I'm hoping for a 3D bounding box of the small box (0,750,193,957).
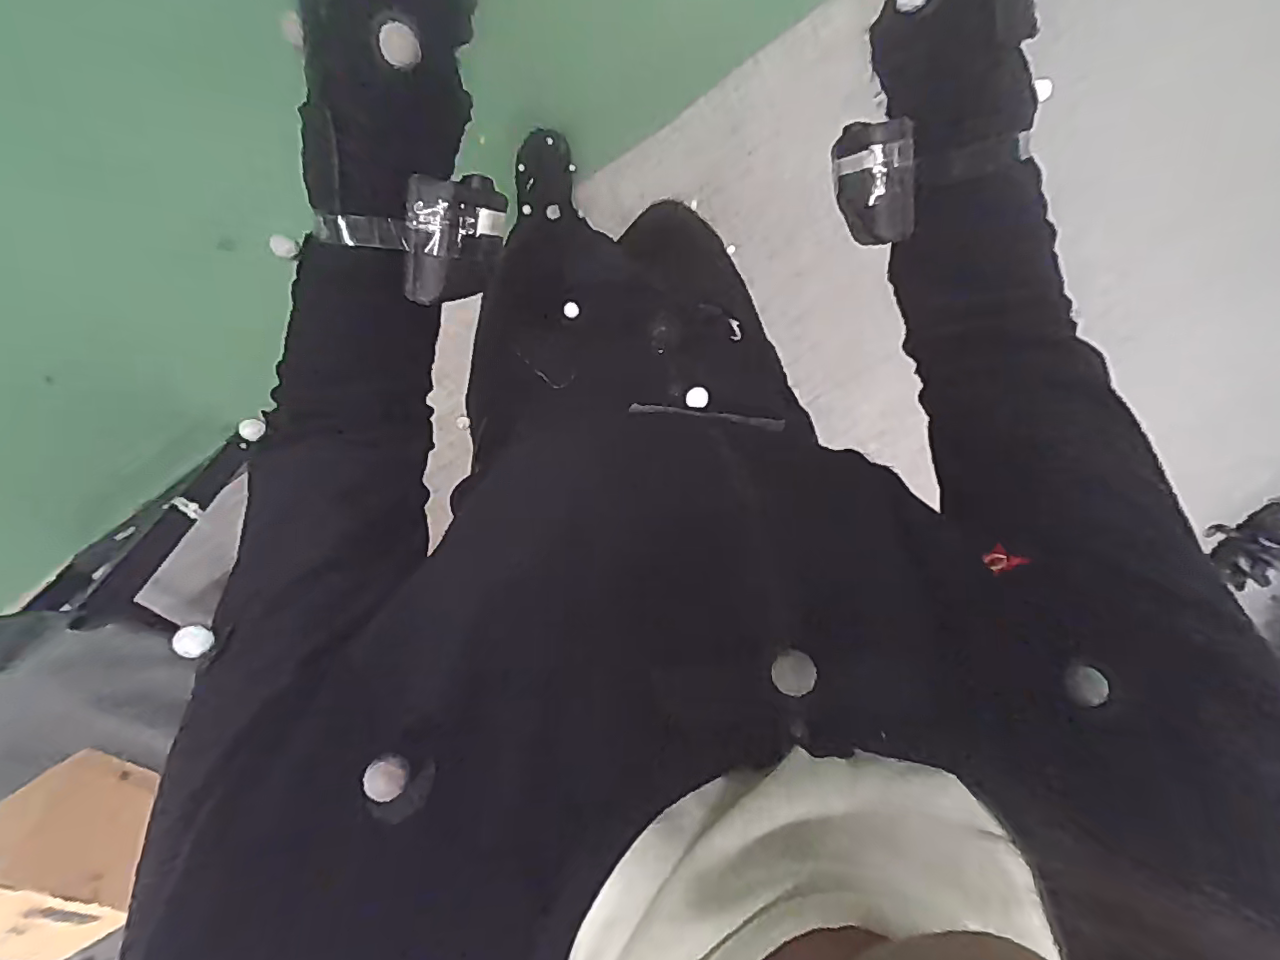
[{"bbox_3d":[-0.768,0.504,0.739,0.179,0.176,0.168,-31,124,9],"label":"small box"}]
